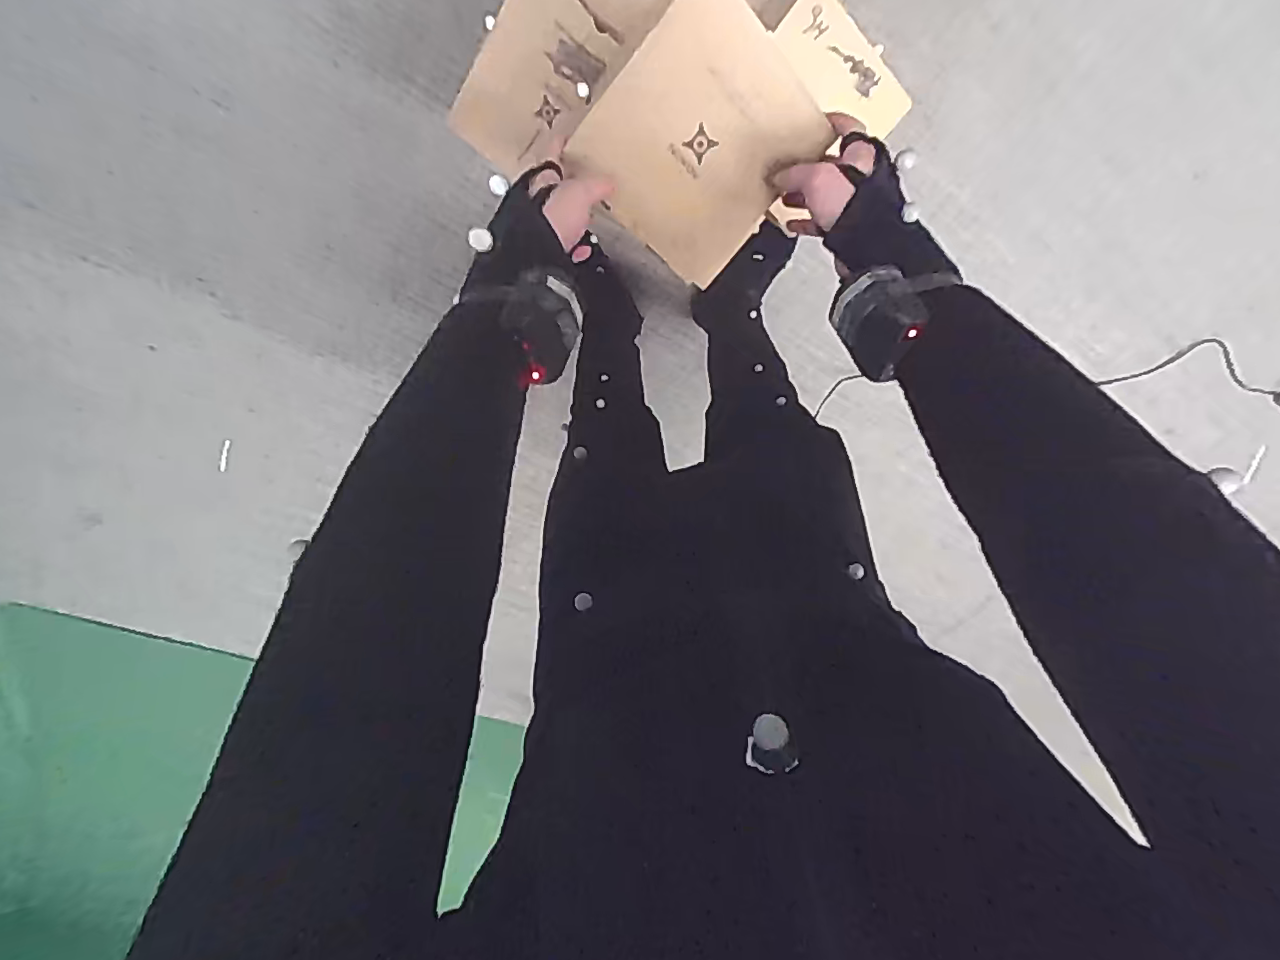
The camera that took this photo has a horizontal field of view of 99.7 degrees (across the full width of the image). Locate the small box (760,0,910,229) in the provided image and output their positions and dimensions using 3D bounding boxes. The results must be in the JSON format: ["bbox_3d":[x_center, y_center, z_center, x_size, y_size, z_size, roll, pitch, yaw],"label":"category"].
[{"bbox_3d":[0.172,-0.442,0.647,0.168,0.176,0.179,33,118,-25],"label":"small box"}]

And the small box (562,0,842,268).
[{"bbox_3d":[0.047,-0.343,0.504,0.168,0.176,0.179,34,120,-30],"label":"small box"}]

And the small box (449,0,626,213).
[{"bbox_3d":[-0.088,-0.454,0.620,0.168,0.176,0.179,34,121,-26],"label":"small box"}]
